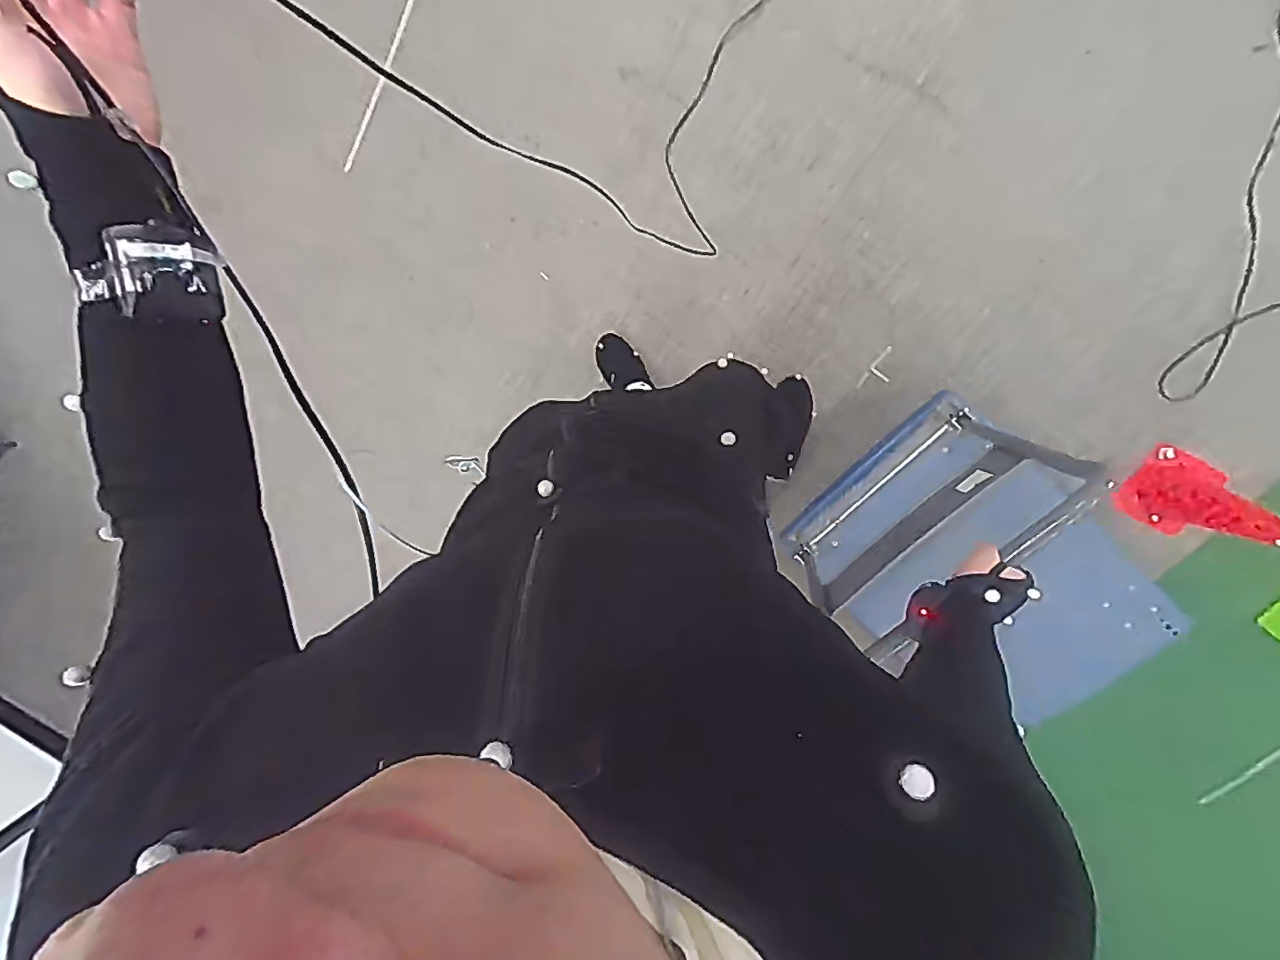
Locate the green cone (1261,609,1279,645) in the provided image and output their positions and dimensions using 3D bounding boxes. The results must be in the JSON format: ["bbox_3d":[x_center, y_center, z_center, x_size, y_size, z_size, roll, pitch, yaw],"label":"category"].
[{"bbox_3d":[1.781,0.425,1.276,0.202,0.368,0.200,35,107,-3],"label":"green cone"}]
